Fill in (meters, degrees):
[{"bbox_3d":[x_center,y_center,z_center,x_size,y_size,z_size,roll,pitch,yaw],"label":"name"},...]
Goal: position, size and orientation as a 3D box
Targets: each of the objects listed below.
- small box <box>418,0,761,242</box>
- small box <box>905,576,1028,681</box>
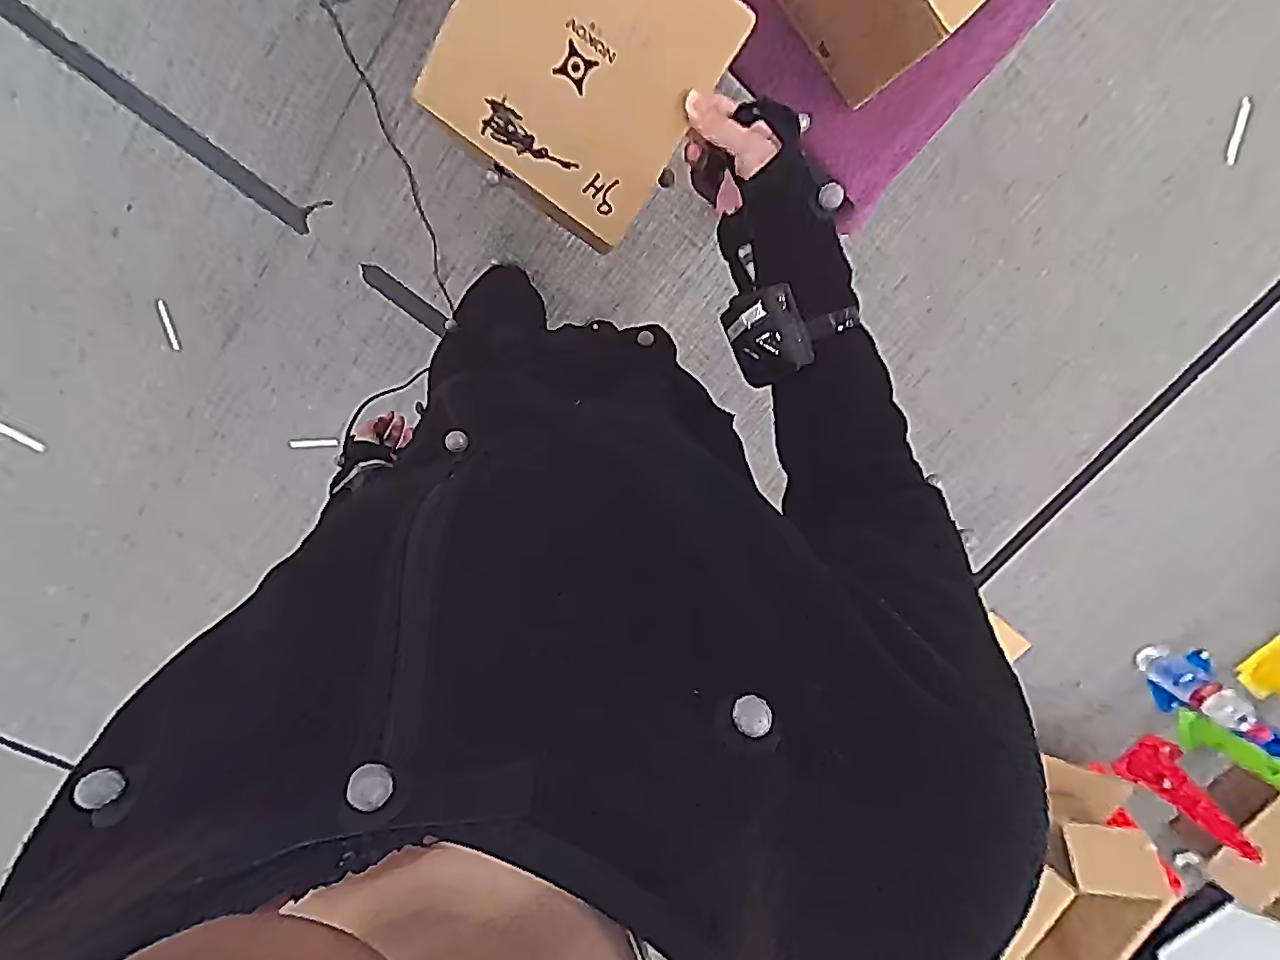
[{"bbox_3d":[-0.043,-0.314,0.427,0.168,0.176,0.179,31,104,-18],"label":"small box"},{"bbox_3d":[0.835,0.374,1.402,0.179,0.176,0.168,35,105,-17],"label":"small box"}]
